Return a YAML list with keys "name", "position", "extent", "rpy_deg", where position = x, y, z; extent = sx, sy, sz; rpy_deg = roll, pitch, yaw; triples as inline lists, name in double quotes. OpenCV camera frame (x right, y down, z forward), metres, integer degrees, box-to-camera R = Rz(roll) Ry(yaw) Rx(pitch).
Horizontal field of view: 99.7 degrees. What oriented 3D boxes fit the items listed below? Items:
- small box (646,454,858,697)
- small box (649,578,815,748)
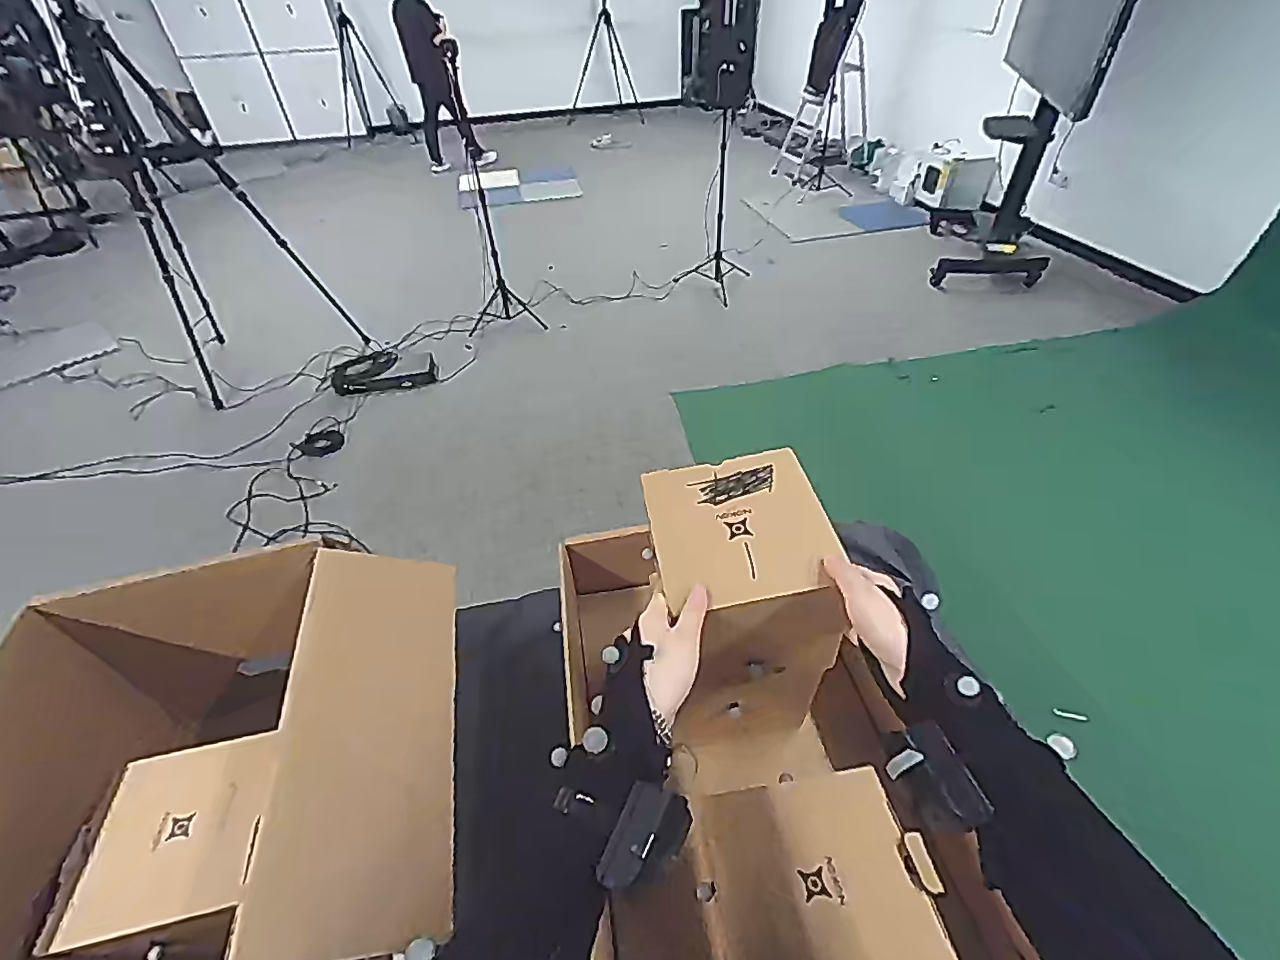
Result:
- name: "small box"
  position: [0.104, 0.101, 0.573]
  extent: [0.168, 0.176, 0.179]
  rpy_deg: [-11, 45, -1]
- name: "small box"
  position: [0.115, 0.228, 0.708]
  extent: [0.179, 0.176, 0.168]
  rpy_deg: [-9, 45, -4]
